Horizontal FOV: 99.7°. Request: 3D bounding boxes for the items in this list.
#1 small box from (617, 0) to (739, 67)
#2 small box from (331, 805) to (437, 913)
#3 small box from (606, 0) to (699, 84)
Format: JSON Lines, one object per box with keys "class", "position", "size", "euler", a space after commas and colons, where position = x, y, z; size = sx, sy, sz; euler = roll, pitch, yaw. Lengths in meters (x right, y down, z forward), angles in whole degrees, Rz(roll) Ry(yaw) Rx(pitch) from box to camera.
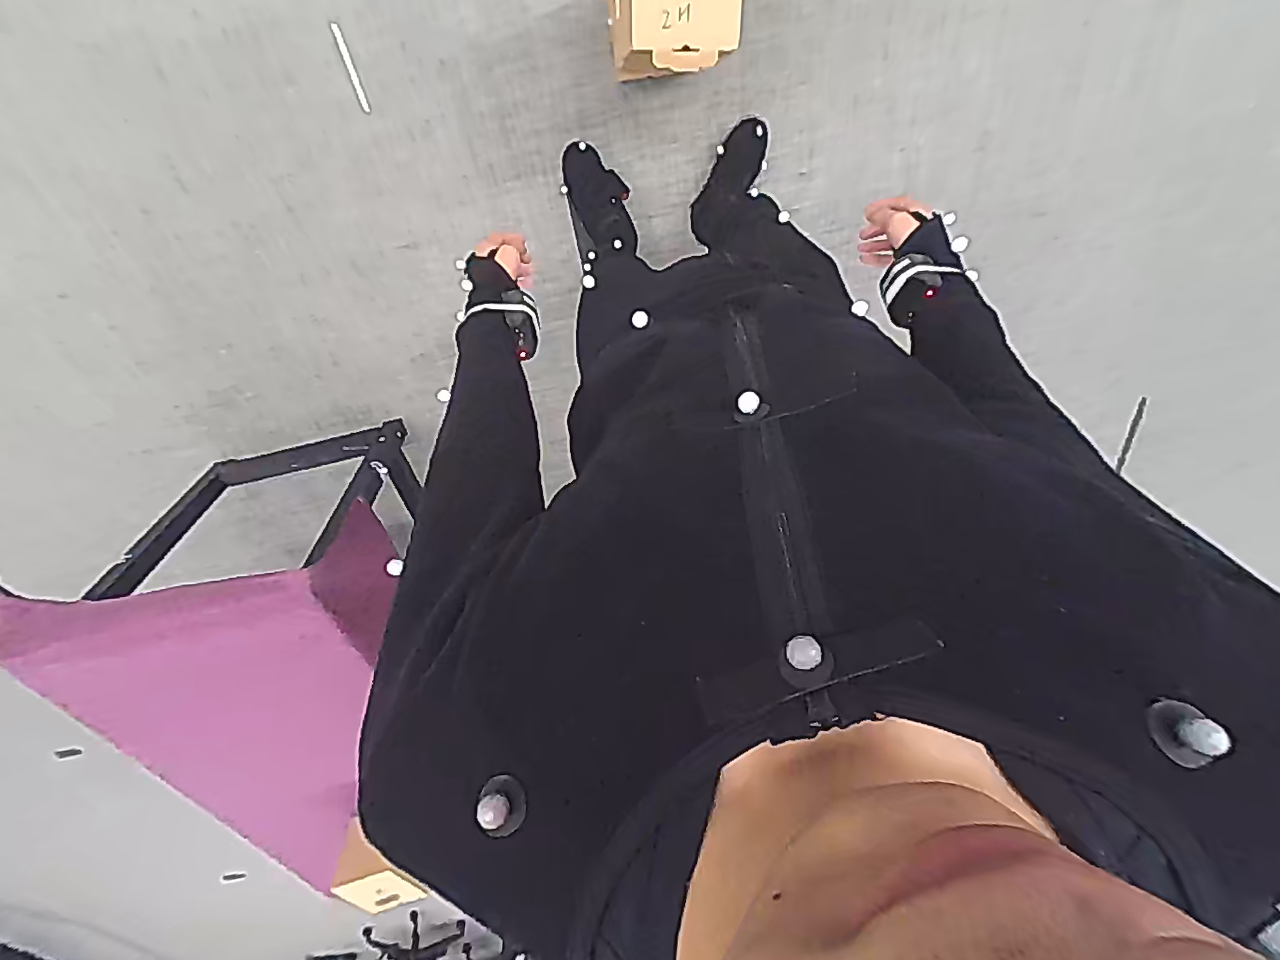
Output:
{"class": "small box", "position": [0.053, -0.762, 0.840], "size": [0.168, 0.176, 0.179], "euler": [-4, 124, -7]}
{"class": "small box", "position": [-0.656, 0.986, 1.413], "size": [0.168, 0.176, 0.179], "euler": [-22, 123, 5]}
{"class": "small box", "position": [0.024, -0.935, 1.120], "size": [0.168, 0.176, 0.179], "euler": [-9, 124, -3]}
